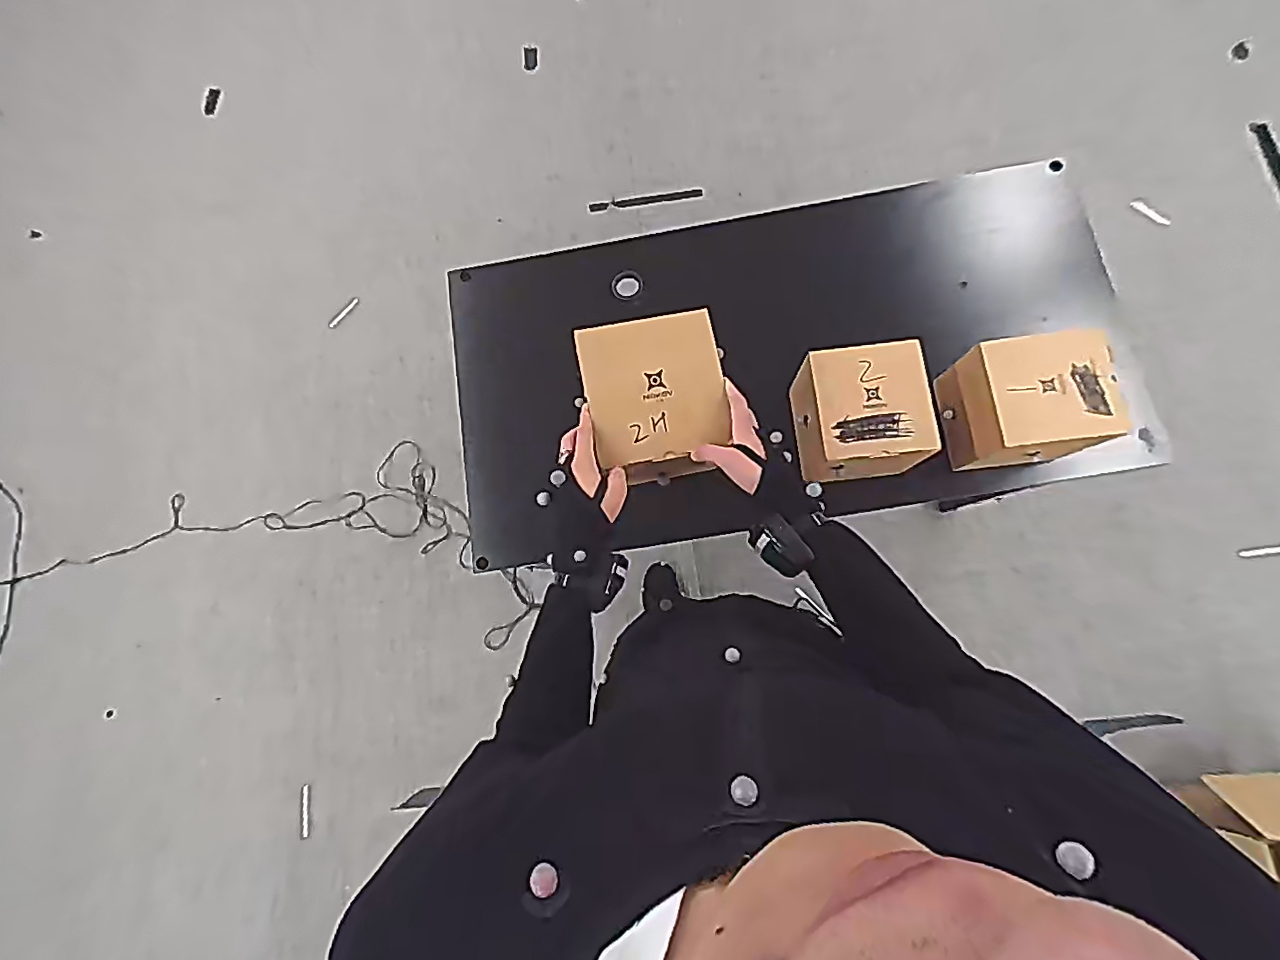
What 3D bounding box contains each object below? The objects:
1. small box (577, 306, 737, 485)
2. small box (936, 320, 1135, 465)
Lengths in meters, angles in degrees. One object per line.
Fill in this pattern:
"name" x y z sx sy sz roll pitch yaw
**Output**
"small box" 0.015 -0.100 0.710 0.168 0.176 0.179 -11 83 -3
"small box" 0.602 -0.127 0.848 0.179 0.176 0.168 -8 78 5
